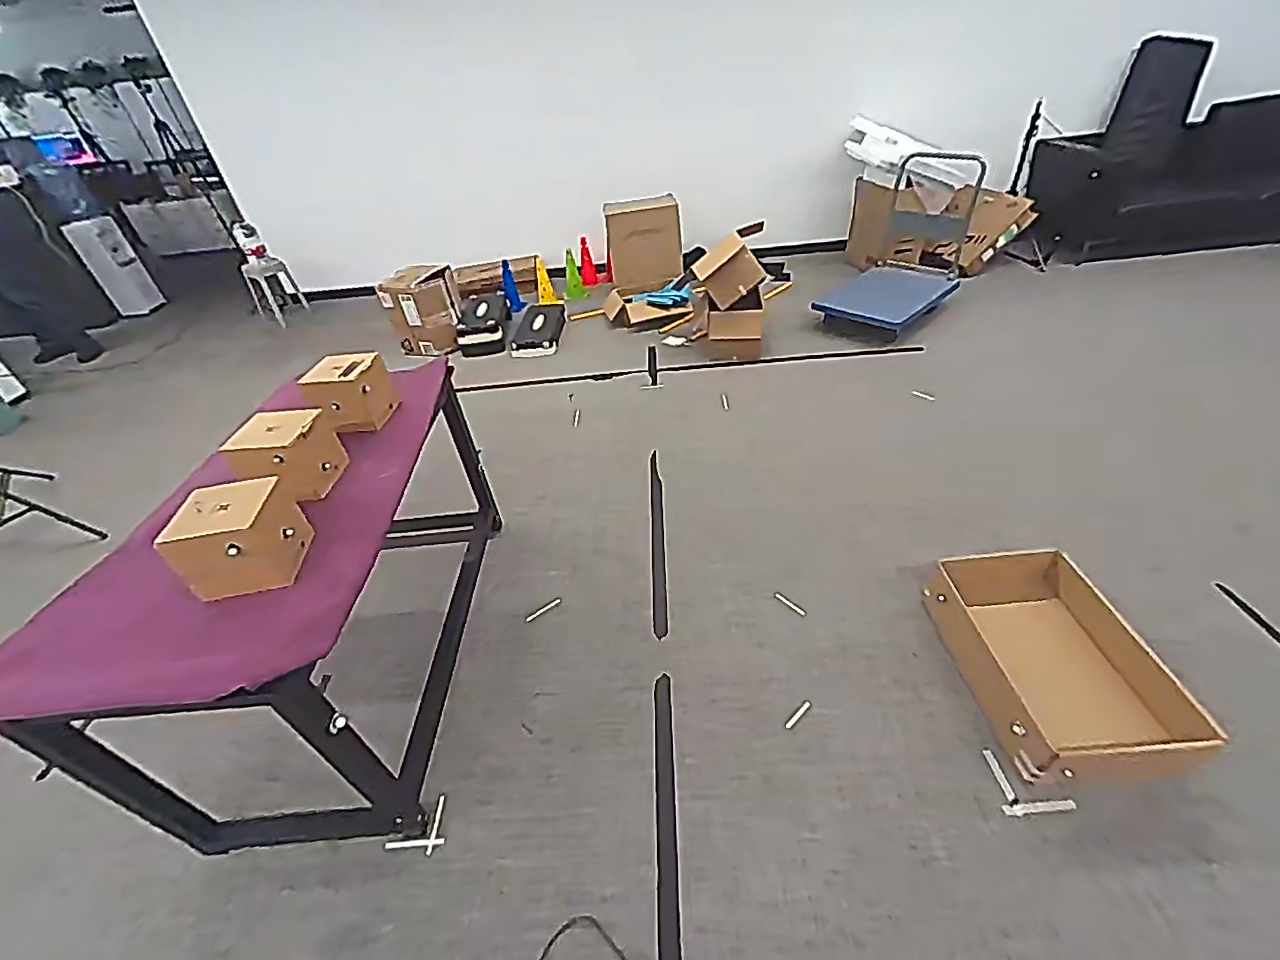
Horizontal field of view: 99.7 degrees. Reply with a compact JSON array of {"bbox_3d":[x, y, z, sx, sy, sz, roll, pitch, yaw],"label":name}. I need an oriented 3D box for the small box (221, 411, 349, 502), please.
[{"bbox_3d":[-0.872,-0.054,1.349,0.179,0.176,0.168,-4,39,3],"label":"small box"}]

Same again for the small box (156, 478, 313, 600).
[{"bbox_3d":[-0.816,0.122,1.115,0.179,0.176,0.168,-10,38,-4],"label":"small box"}]
